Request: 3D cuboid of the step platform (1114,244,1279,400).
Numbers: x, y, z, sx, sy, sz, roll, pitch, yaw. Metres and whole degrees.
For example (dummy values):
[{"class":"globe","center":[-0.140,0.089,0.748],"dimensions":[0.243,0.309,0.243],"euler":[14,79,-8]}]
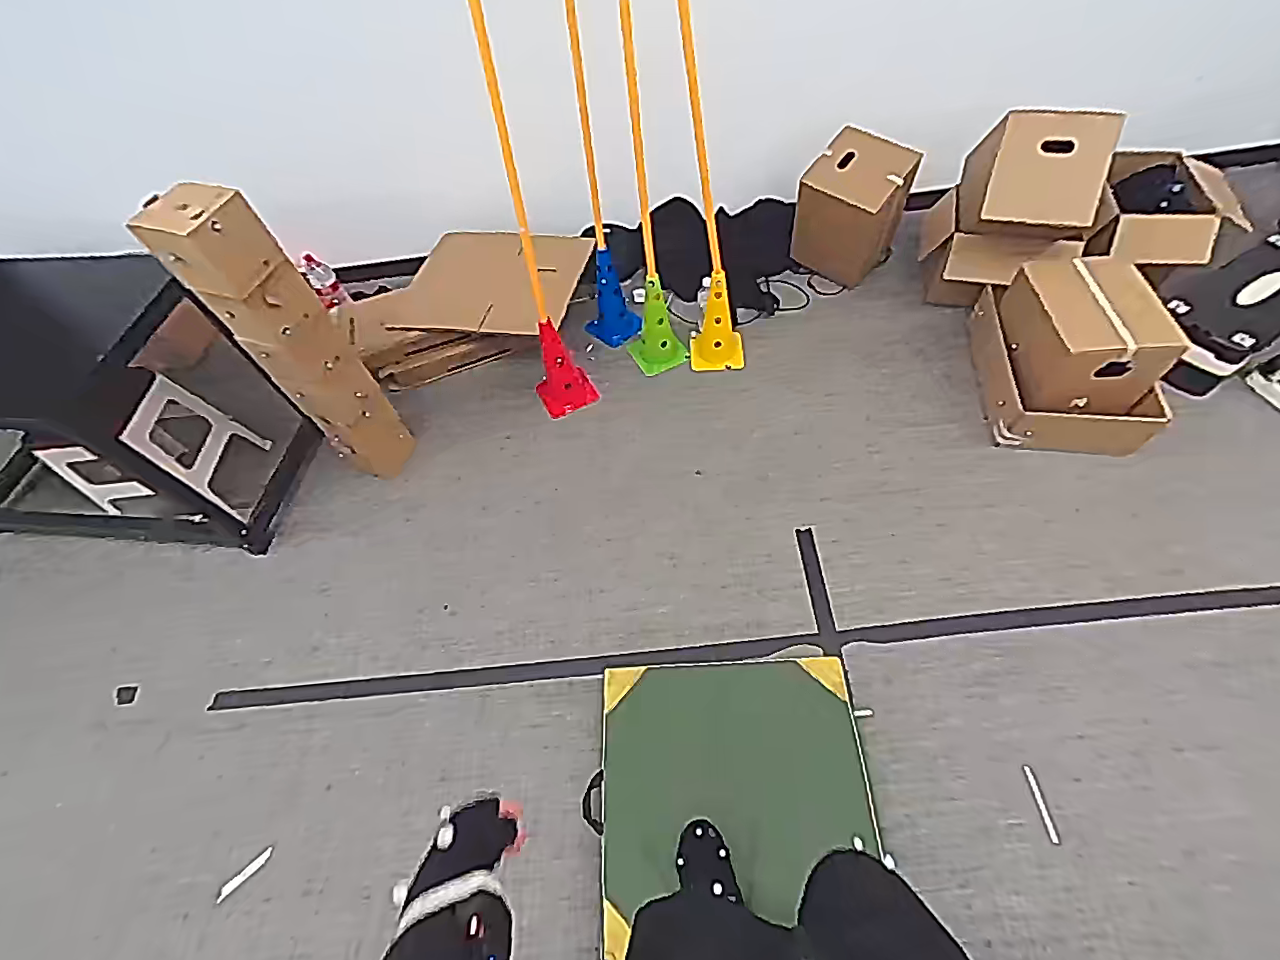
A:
[{"class":"step platform","center":[2.013,-0.551,1.855],"dimensions":[0.684,0.204,0.286],"euler":[-30,59,-12]}]
